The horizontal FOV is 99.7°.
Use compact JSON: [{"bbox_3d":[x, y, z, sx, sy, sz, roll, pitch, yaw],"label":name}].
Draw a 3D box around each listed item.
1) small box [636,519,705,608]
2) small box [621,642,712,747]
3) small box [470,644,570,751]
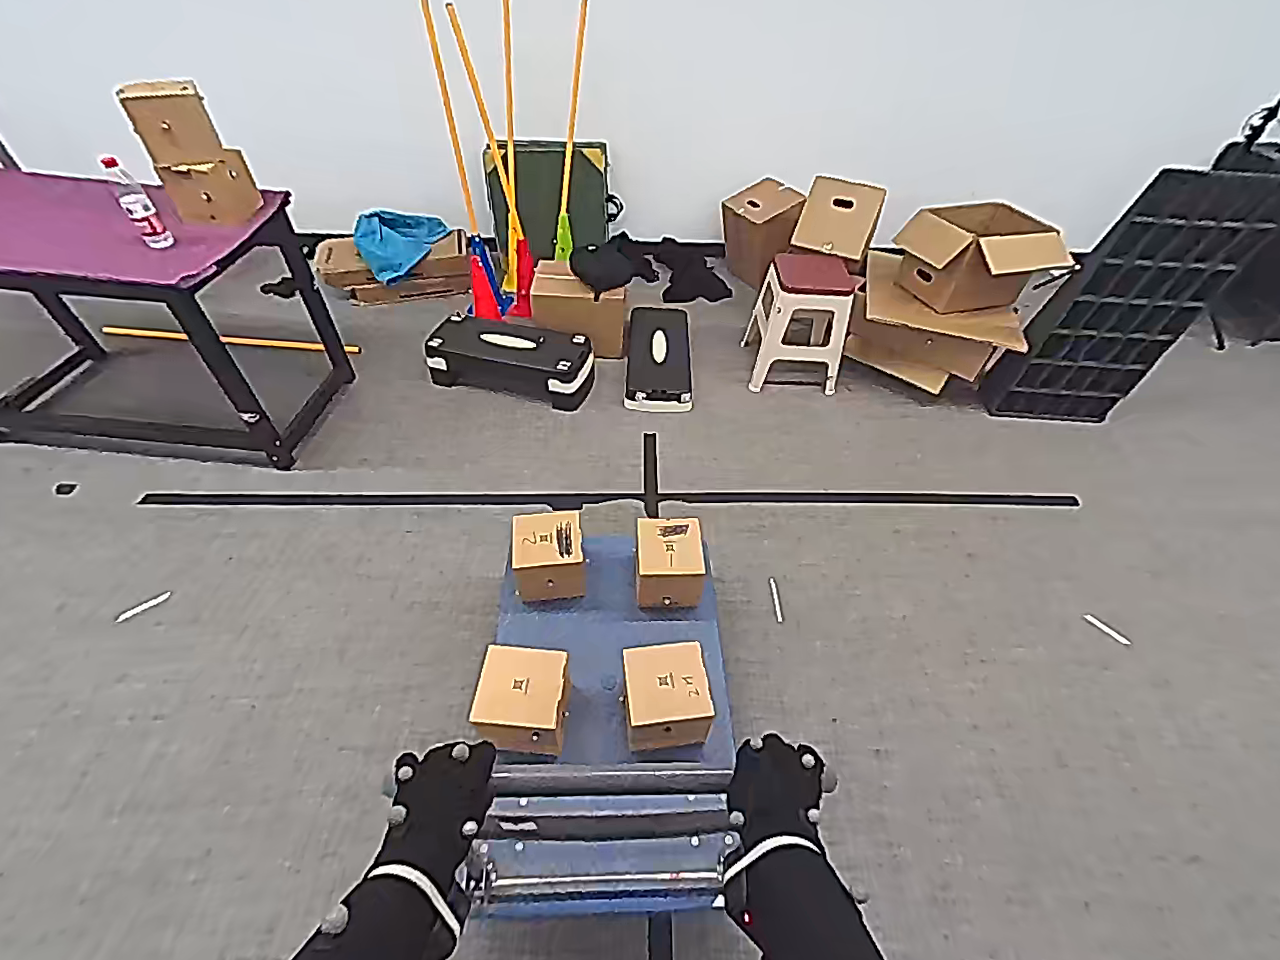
[{"bbox_3d":[0.075,0.223,1.446,0.168,0.176,0.179,0,49,-3],"label":"small box"},{"bbox_3d":[0.052,0.482,1.209,0.179,0.176,0.168,-4,48,-6],"label":"small box"},{"bbox_3d":[-0.254,0.481,1.192,0.179,0.176,0.168,6,47,0],"label":"small box"}]
